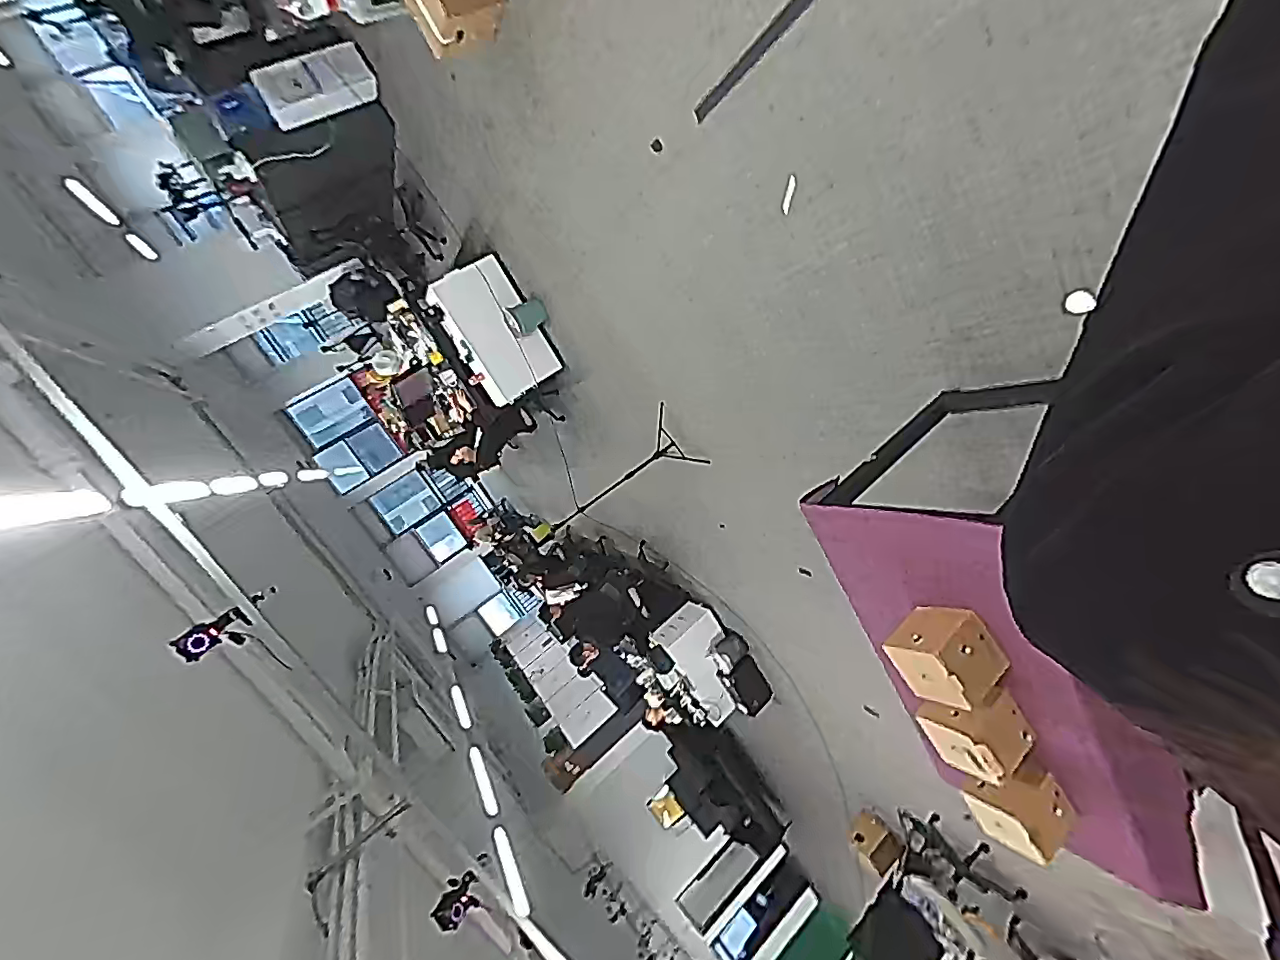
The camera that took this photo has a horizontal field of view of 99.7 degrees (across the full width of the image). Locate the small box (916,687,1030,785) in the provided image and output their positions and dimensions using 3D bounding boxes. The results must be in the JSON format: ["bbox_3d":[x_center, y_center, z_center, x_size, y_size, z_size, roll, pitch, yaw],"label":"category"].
[{"bbox_3d":[0.887,0.654,1.432,0.168,0.176,0.179,56,161,-5],"label":"small box"}]

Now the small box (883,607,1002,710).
[{"bbox_3d":[0.763,0.436,1.354,0.168,0.176,0.179,55,161,-3],"label":"small box"}]

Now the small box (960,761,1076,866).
[{"bbox_3d":[1.036,0.889,1.484,0.168,0.176,0.179,56,160,-7],"label":"small box"}]
